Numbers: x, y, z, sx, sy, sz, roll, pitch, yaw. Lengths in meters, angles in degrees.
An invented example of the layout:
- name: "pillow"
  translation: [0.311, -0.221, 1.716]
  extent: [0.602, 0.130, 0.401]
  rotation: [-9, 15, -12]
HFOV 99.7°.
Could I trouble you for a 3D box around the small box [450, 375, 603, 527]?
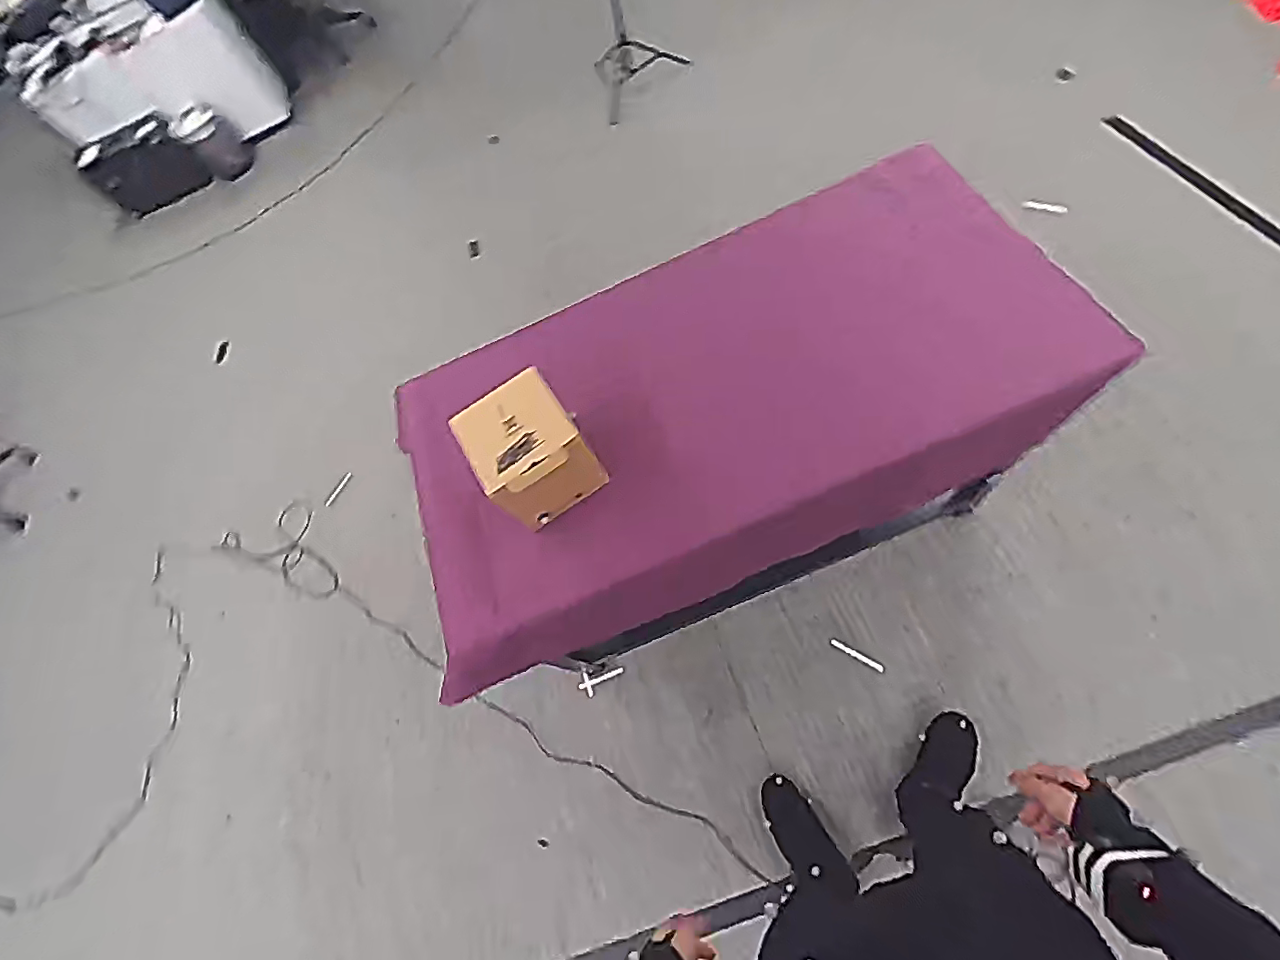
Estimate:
- name: "small box"
  translation: [-0.186, -0.038, 0.929]
  extent: [0.168, 0.176, 0.179]
  rotation: [-35, 62, -3]
